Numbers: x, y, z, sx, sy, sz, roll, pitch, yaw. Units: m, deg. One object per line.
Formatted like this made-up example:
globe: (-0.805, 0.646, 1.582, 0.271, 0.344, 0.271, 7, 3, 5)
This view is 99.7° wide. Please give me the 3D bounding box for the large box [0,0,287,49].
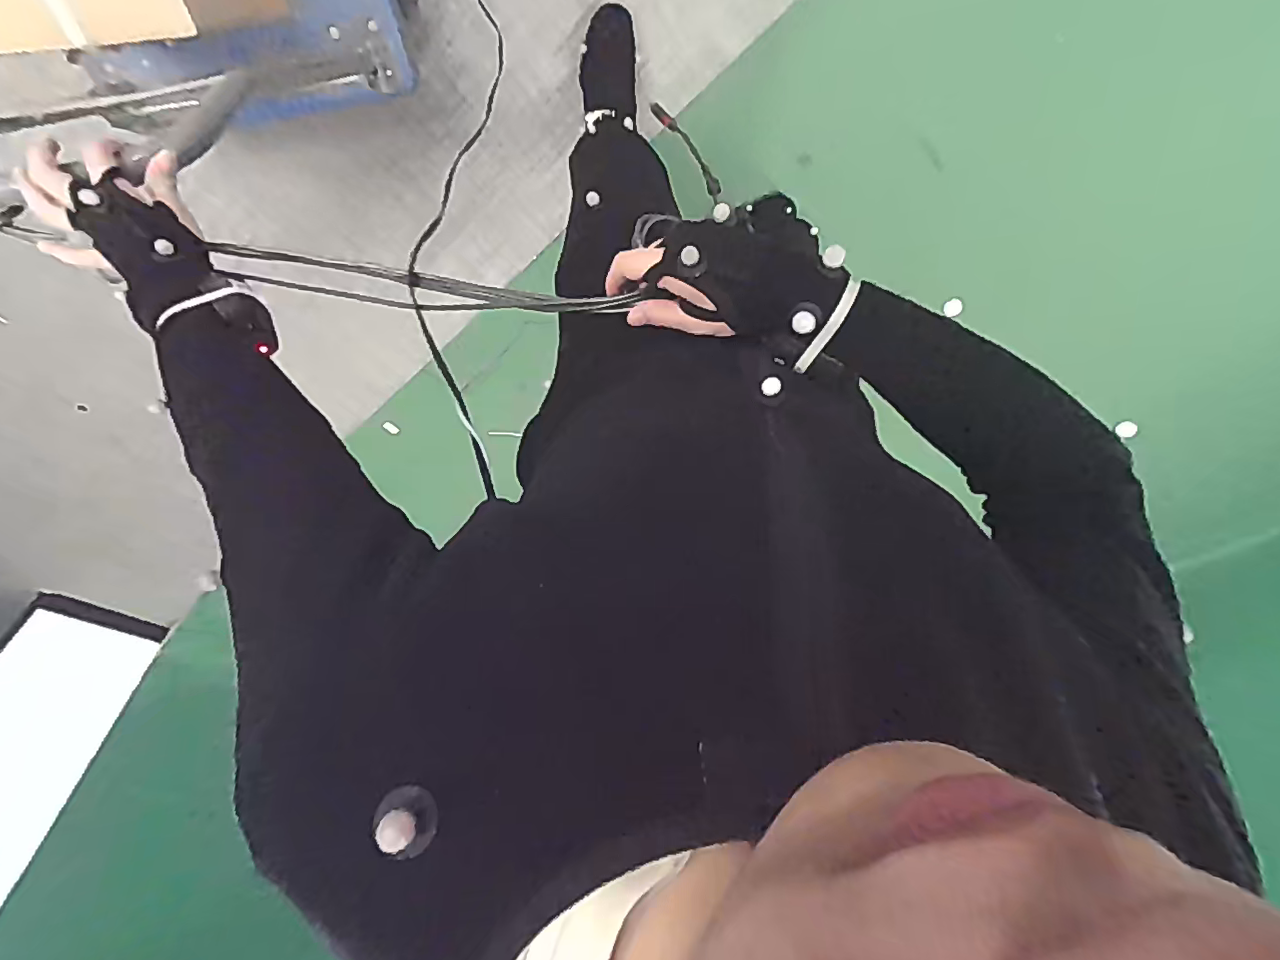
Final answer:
large box: (-0.749, -0.821, 0.679, 0.320, 0.320, 0.408, -4, 134, -1)
